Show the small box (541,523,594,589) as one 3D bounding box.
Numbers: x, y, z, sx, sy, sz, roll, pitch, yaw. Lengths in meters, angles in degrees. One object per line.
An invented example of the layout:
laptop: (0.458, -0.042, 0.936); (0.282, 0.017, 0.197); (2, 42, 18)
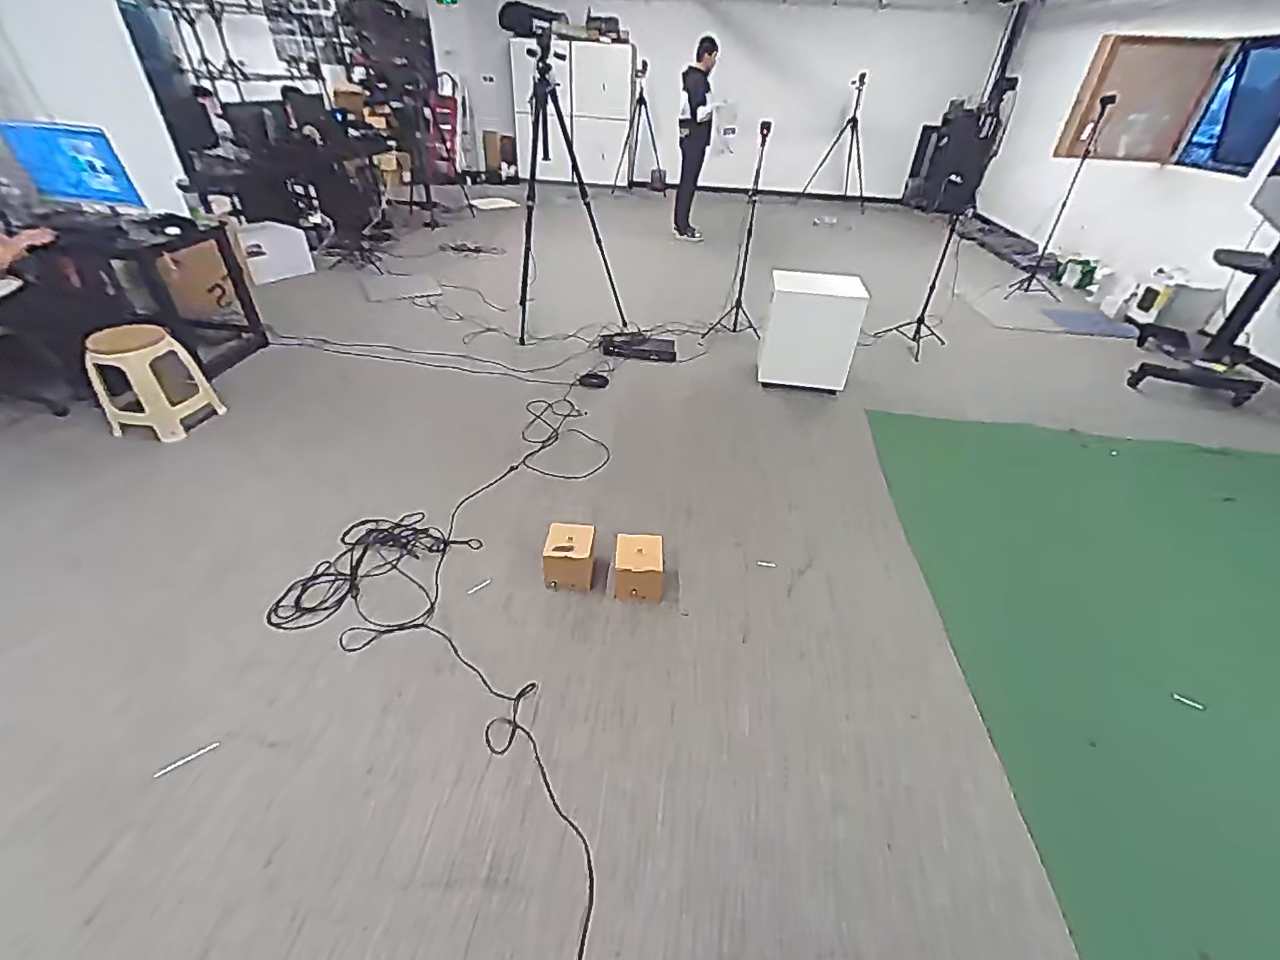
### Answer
small box: (-0.259, 0.281, 1.987); (0.168, 0.176, 0.179); (4, 36, 1)

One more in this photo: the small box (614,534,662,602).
small box: (-0.008, 0.318, 1.958); (0.168, 0.176, 0.179); (2, 38, -1)
